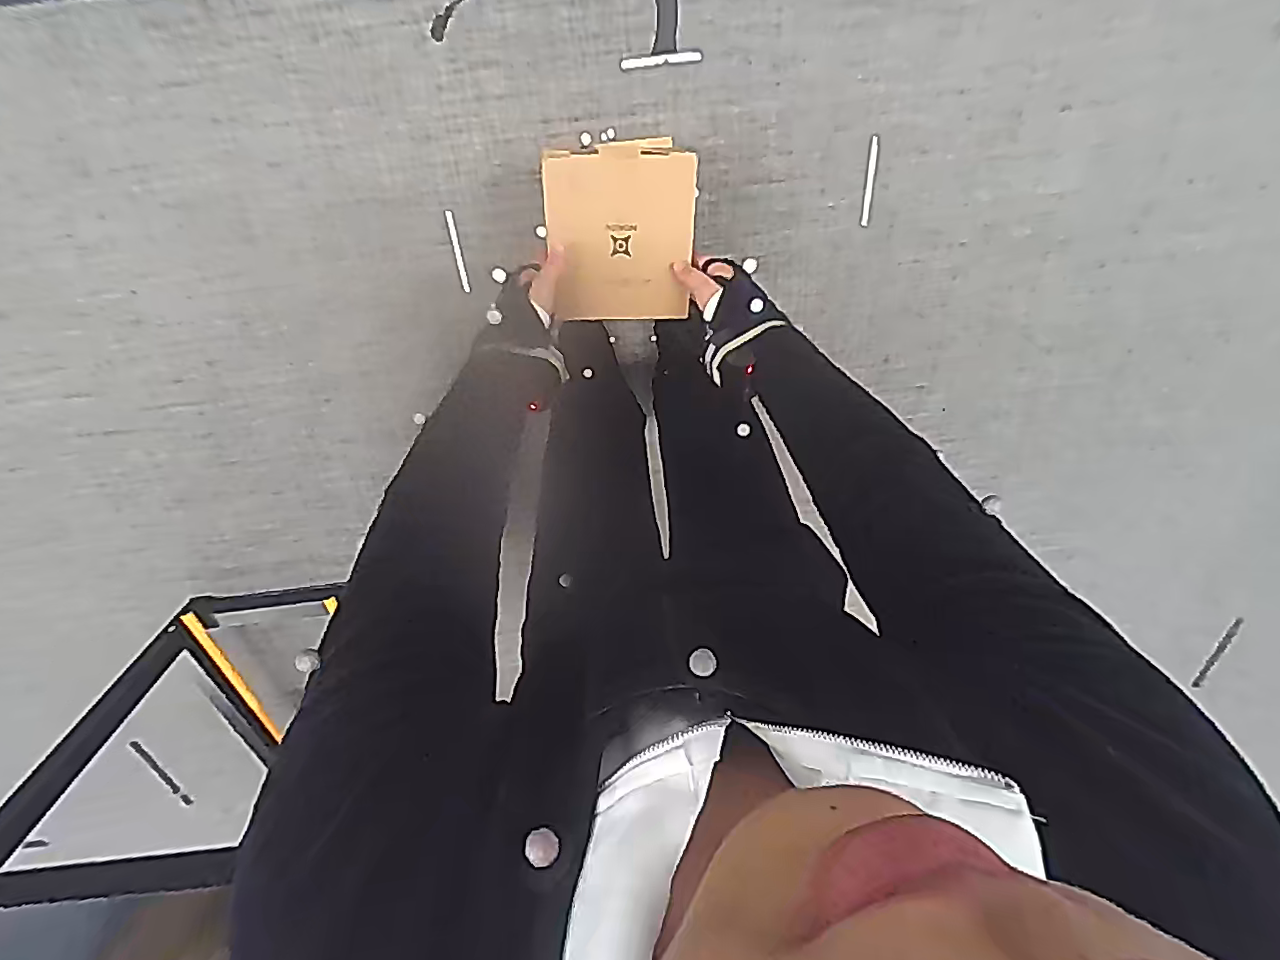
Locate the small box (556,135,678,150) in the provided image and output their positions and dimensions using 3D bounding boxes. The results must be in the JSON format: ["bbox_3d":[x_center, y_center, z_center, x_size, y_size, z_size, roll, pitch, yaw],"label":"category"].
[{"bbox_3d":[-0.033,-0.398,0.799,0.168,0.176,0.179,-6,123,-1],"label":"small box"}]

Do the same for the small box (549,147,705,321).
[{"bbox_3d":[-0.022,-0.306,0.665,0.168,0.176,0.179,-1,123,-4],"label":"small box"}]
